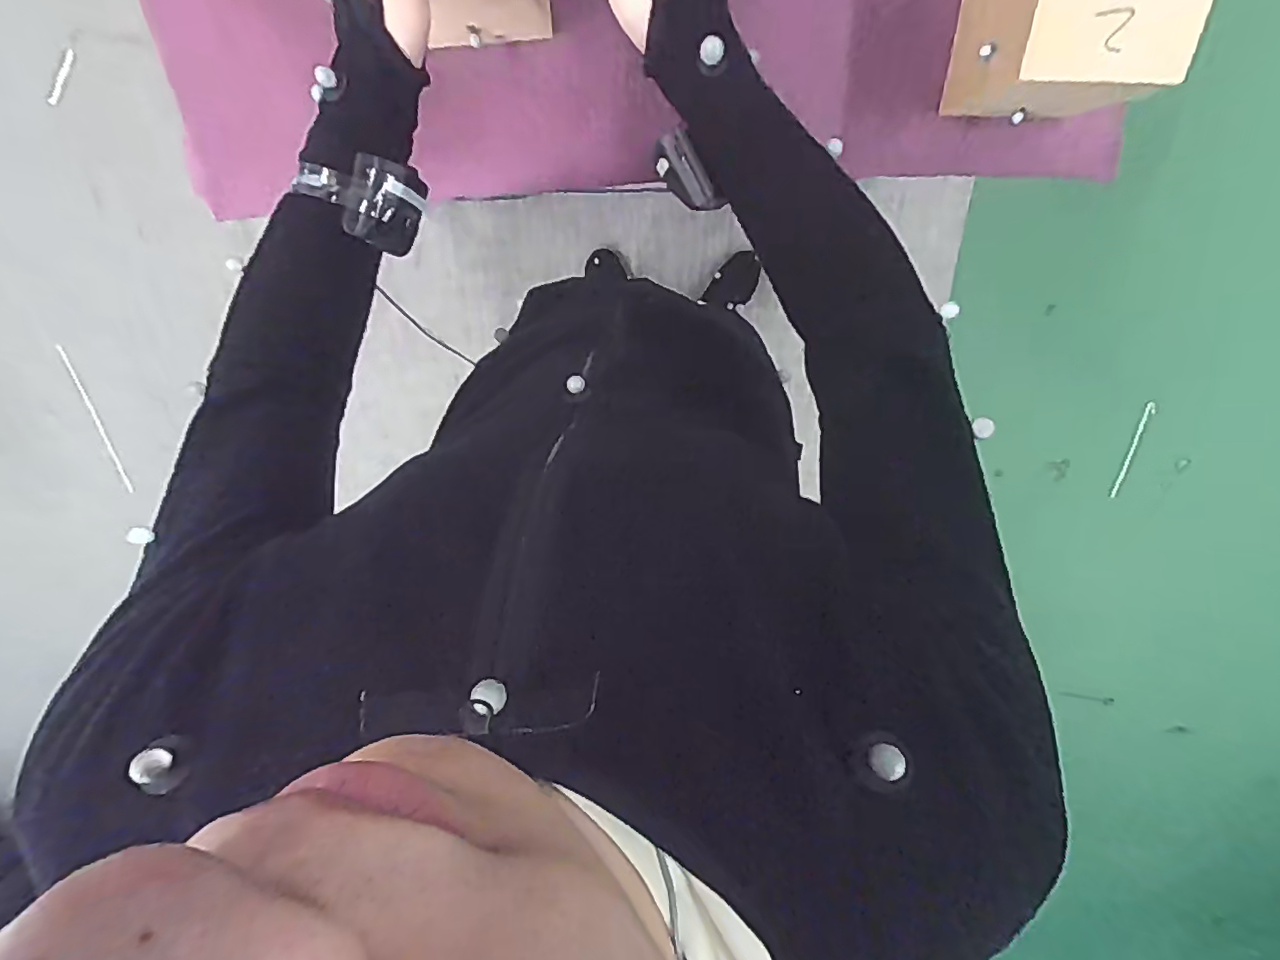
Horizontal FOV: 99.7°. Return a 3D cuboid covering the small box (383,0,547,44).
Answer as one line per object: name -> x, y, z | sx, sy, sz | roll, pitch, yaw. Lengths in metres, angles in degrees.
small box -> -0.196, -0.583, 0.552 | 0.168, 0.176, 0.179 | -3, 116, 2
